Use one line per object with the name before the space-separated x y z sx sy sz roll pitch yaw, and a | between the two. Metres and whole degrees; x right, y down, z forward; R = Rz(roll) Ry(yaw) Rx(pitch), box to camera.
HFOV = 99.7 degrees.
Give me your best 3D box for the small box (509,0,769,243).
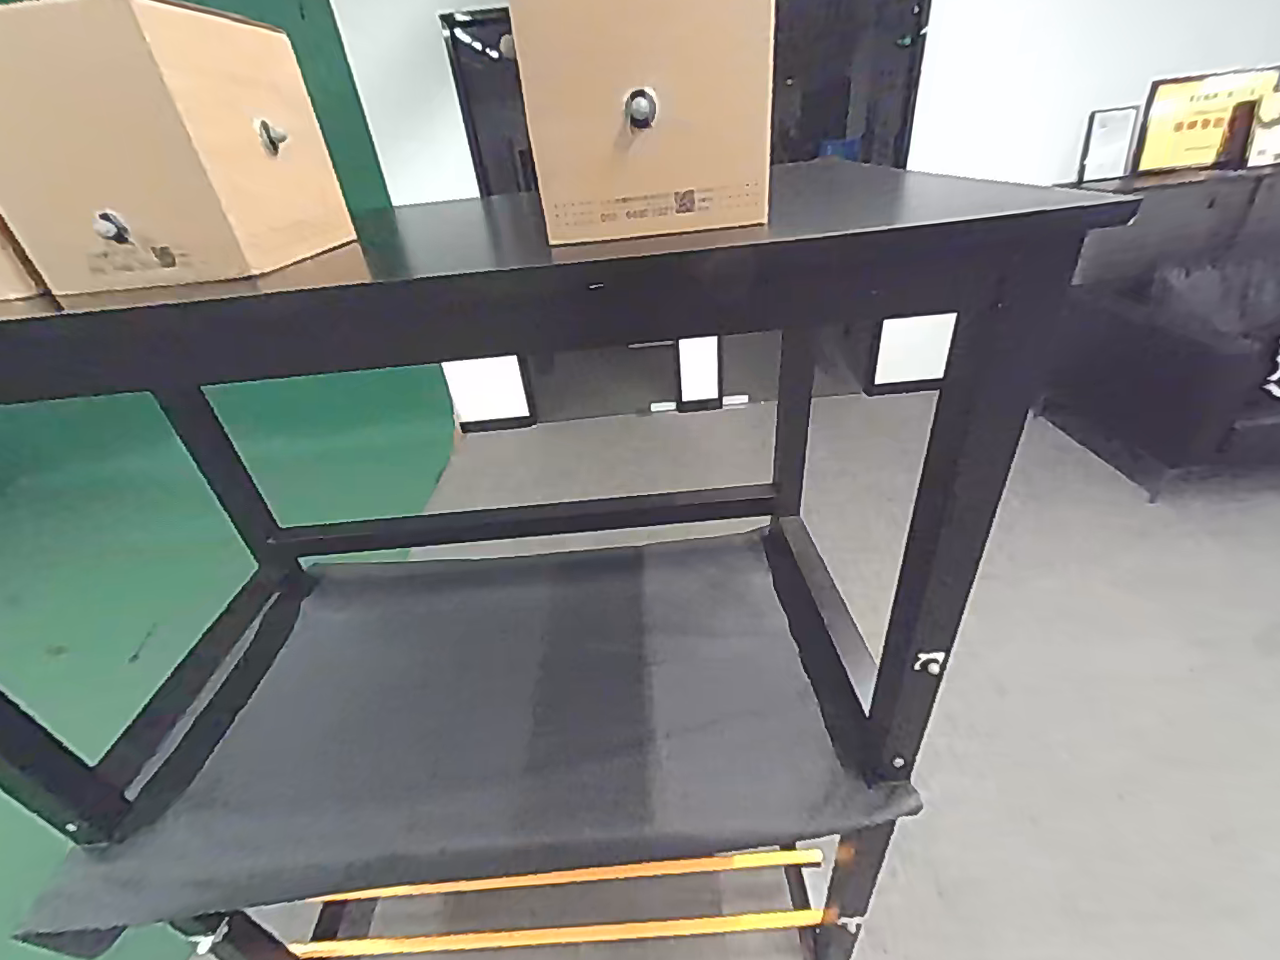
small box | 0.007 -0.293 0.433 0.168 0.176 0.179 -4 33 2
